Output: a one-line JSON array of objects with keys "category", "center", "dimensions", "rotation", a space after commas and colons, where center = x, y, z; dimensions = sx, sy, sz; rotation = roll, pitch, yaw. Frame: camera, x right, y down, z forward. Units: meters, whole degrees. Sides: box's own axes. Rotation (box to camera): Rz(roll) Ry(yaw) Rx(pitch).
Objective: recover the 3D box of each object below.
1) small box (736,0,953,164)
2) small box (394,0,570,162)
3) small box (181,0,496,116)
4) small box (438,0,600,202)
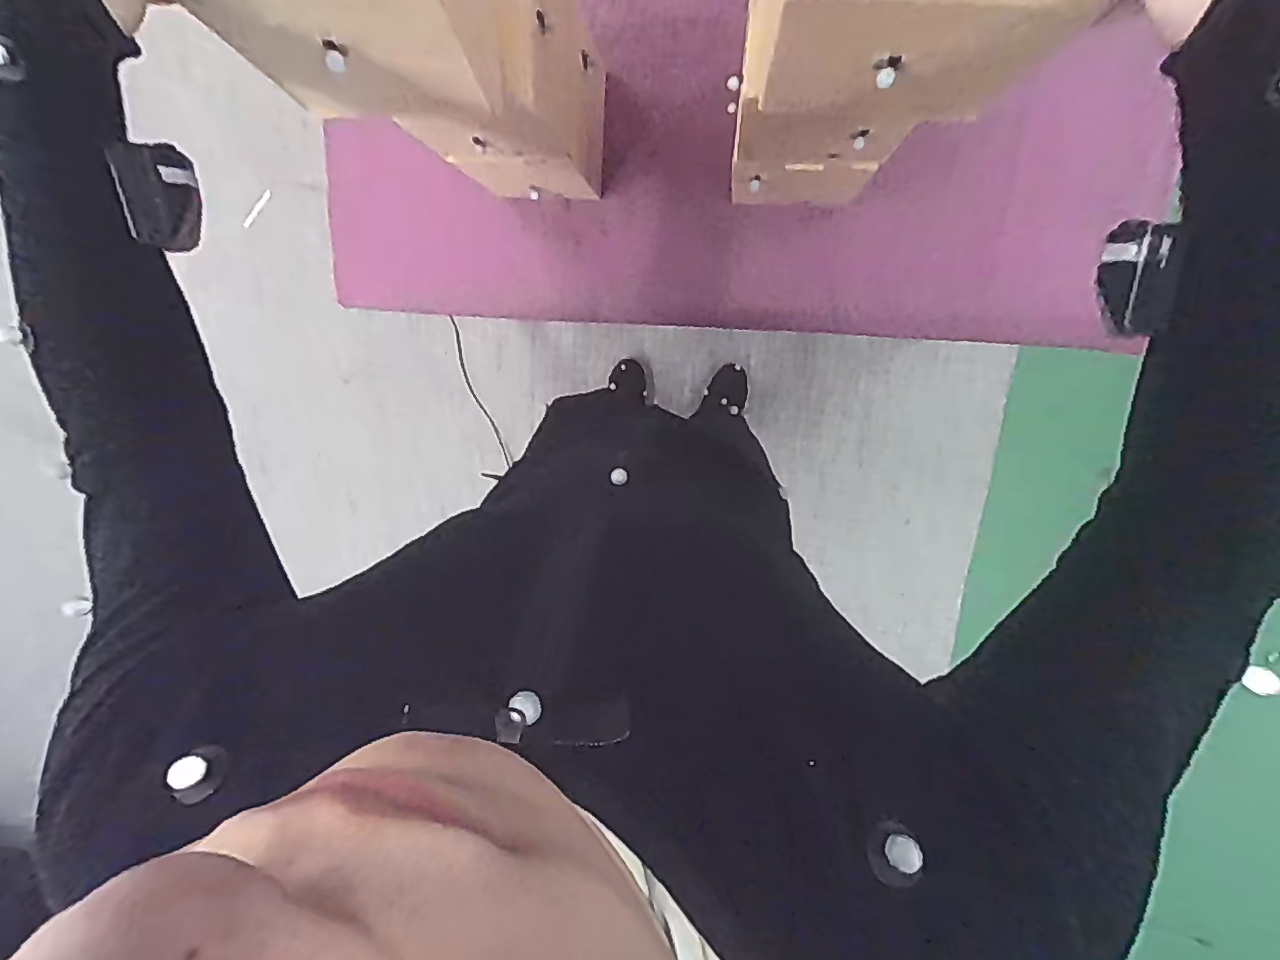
[{"category": "small box", "center": [0.183, -0.422, 0.515], "dimensions": [0.168, 0.176, 0.179], "rotation": [5, 103, 7]}, {"category": "small box", "center": [-0.173, -0.454, 0.558], "dimensions": [0.168, 0.176, 0.179], "rotation": [4, 104, 7]}, {"category": "small box", "center": [-0.215, -0.391, 0.392], "dimensions": [0.179, 0.176, 0.168], "rotation": [-2, 100, -1]}, {"category": "small box", "center": [-0.152, -0.489, 0.715], "dimensions": [0.168, 0.176, 0.179], "rotation": [5, 104, 7]}]
